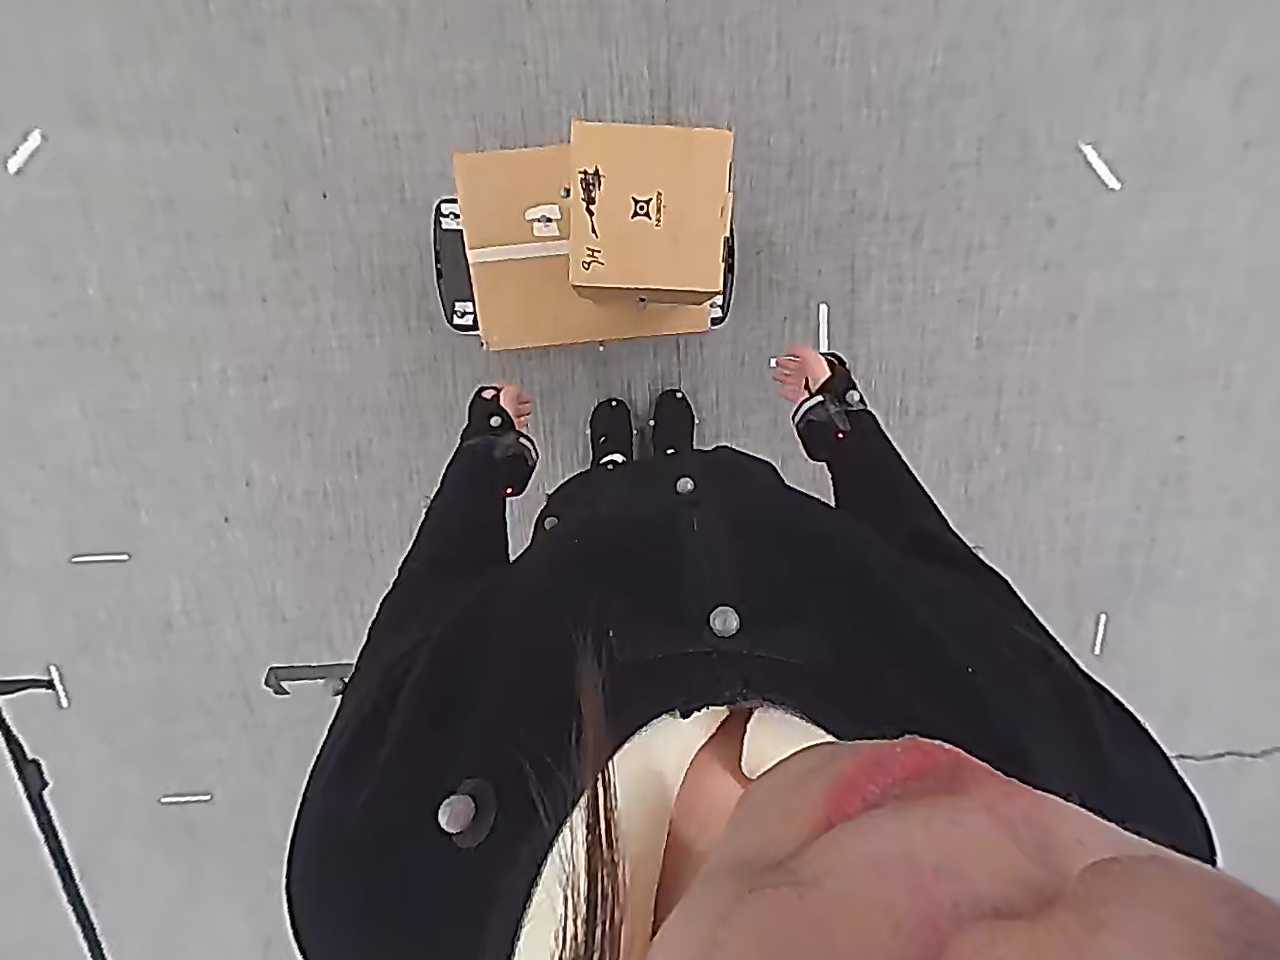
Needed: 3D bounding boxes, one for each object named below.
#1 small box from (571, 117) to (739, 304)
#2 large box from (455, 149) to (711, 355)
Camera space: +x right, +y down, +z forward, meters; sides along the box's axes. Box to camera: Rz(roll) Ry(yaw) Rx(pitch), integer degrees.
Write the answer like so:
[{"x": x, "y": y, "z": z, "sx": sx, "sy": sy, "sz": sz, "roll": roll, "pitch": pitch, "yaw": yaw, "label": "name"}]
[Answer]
[{"x": 0.010, "y": -0.310, "z": 0.660, "sx": 0.179, "sy": 0.176, "sz": 0.168, "roll": 2, "pitch": 102, "yaw": -4, "label": "small box"}, {"x": -0.090, "y": -0.422, "z": 1.050, "sx": 0.408, "sy": 0.320, "sz": 0.320, "roll": -6, "pitch": 103, "yaw": 0, "label": "large box"}]
